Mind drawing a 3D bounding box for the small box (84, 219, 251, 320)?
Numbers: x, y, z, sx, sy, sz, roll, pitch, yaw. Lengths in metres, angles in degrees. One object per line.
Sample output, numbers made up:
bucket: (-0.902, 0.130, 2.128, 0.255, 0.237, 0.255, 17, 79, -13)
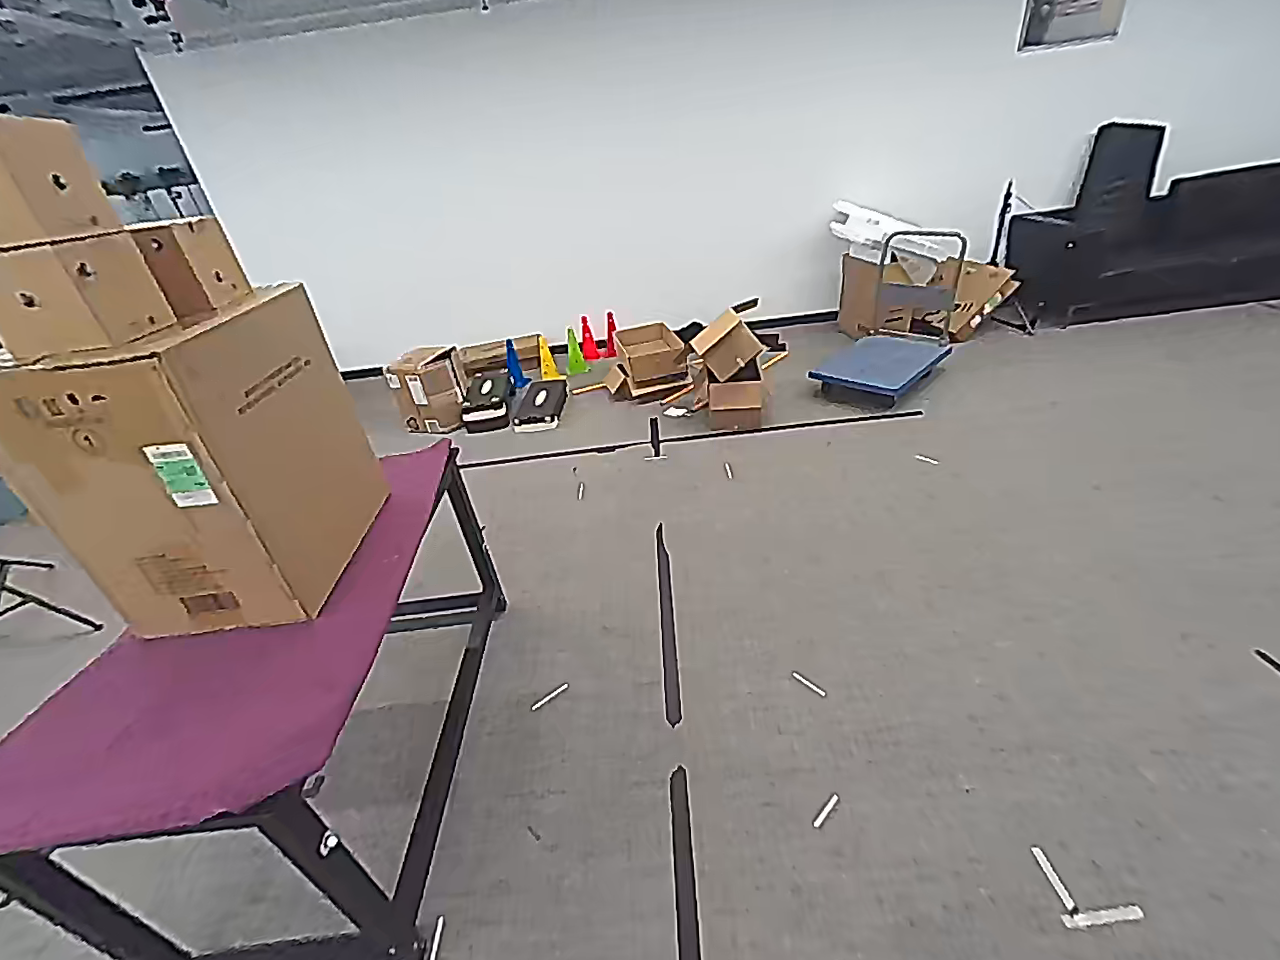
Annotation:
small box: (-0.994, -0.450, 1.157, 0.179, 0.176, 0.168, -8, 33, -2)

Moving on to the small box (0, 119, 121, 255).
small box: (-0.999, -0.457, 0.852, 0.179, 0.176, 0.168, -10, 30, -3)
